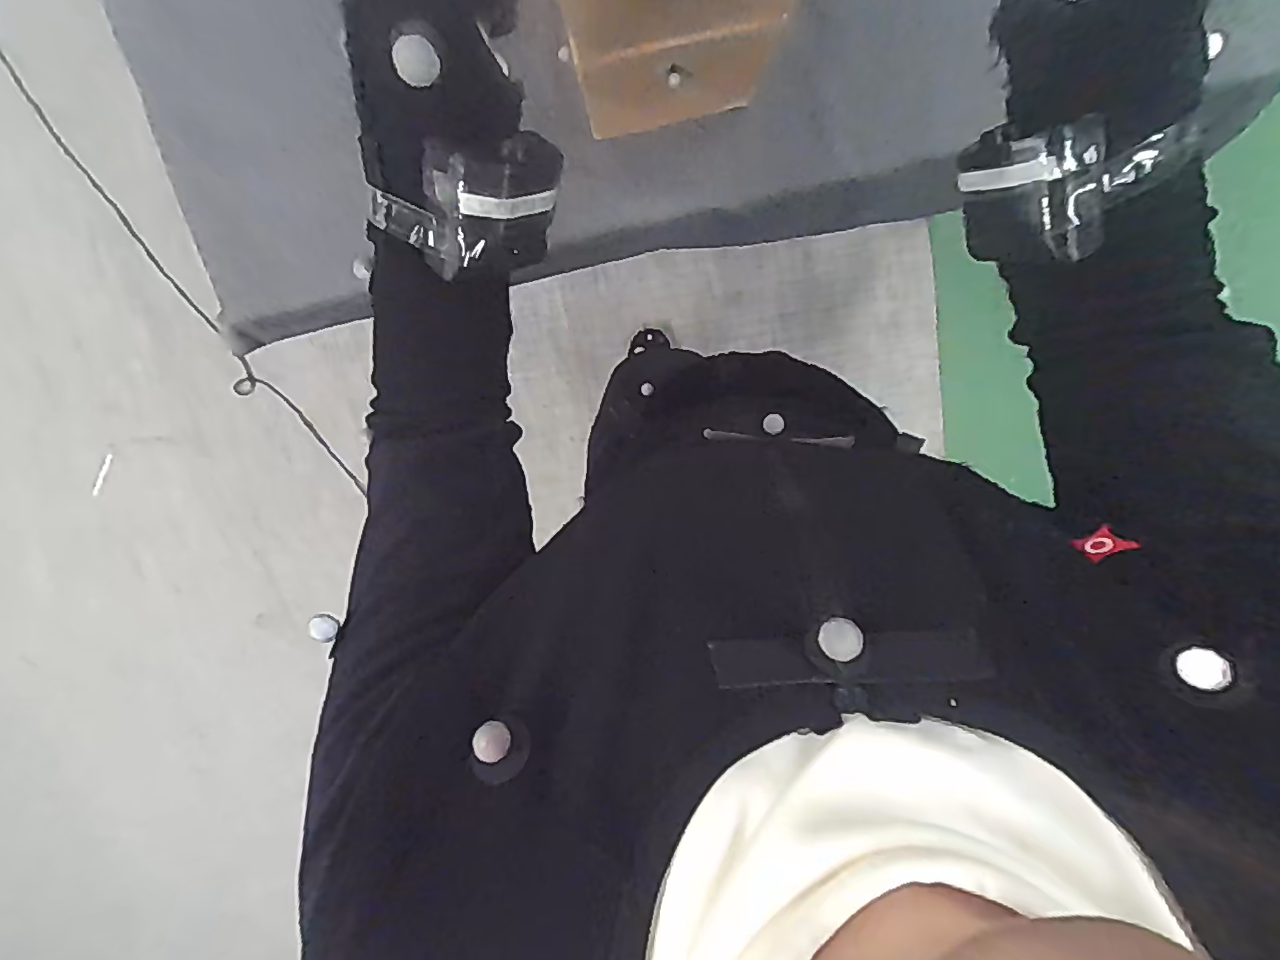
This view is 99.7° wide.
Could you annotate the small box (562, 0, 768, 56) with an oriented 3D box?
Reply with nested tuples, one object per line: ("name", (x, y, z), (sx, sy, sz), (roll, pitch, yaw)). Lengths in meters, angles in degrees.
("small box", (0.017, -0.414, 0.338), (0.179, 0.176, 0.168), (-13, 105, 4))

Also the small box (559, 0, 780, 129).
("small box", (0.016, -0.454, 0.497), (0.179, 0.176, 0.168), (-11, 105, 3))
